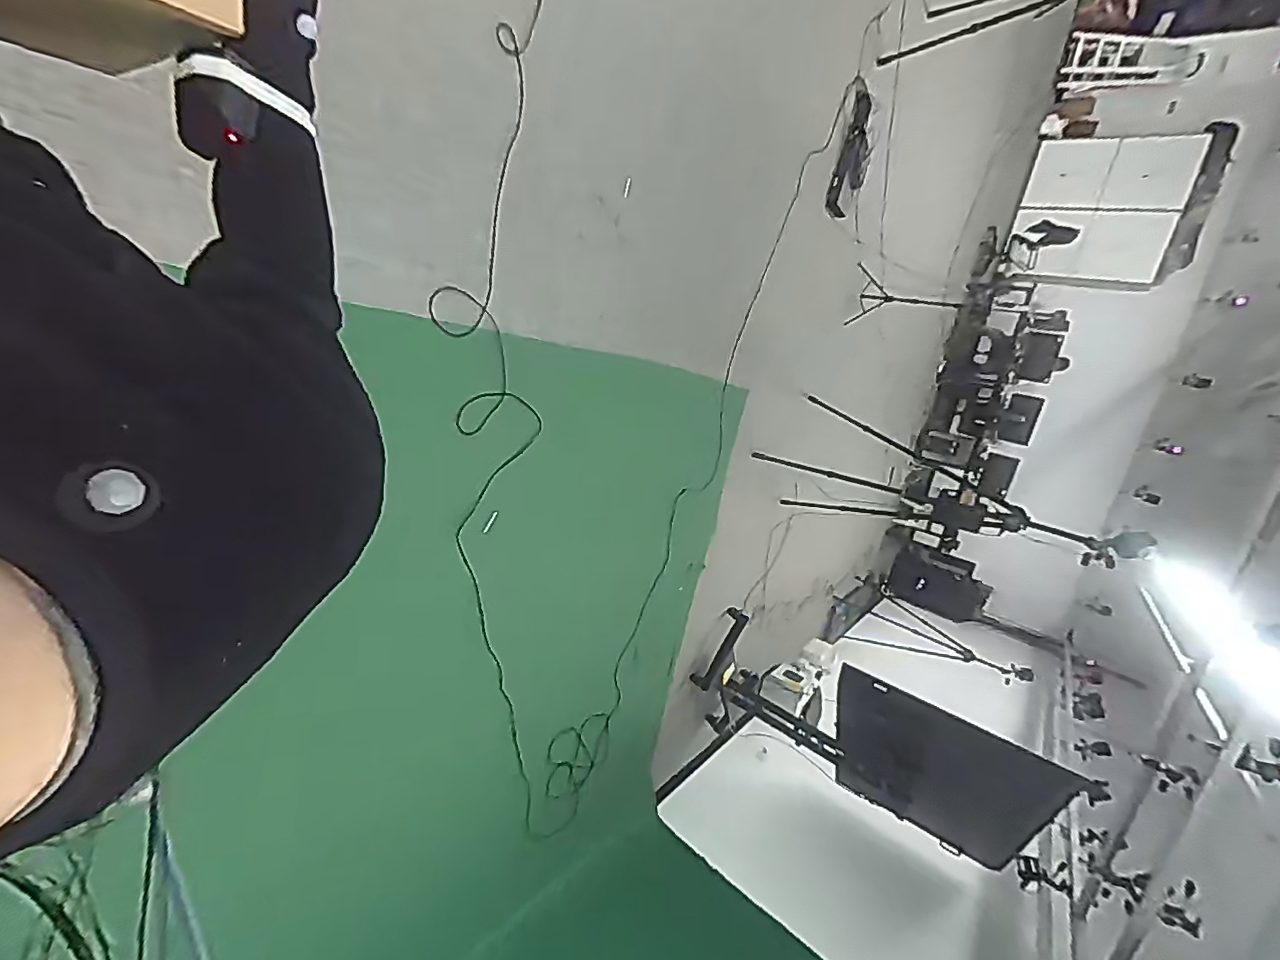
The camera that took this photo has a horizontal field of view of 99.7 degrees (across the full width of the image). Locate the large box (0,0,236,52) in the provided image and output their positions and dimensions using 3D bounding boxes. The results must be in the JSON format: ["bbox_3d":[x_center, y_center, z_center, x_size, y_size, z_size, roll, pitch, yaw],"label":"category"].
[{"bbox_3d":[-0.511,-0.489,0.274,0.408,0.320,0.320,-17,121,-52],"label":"large box"}]
